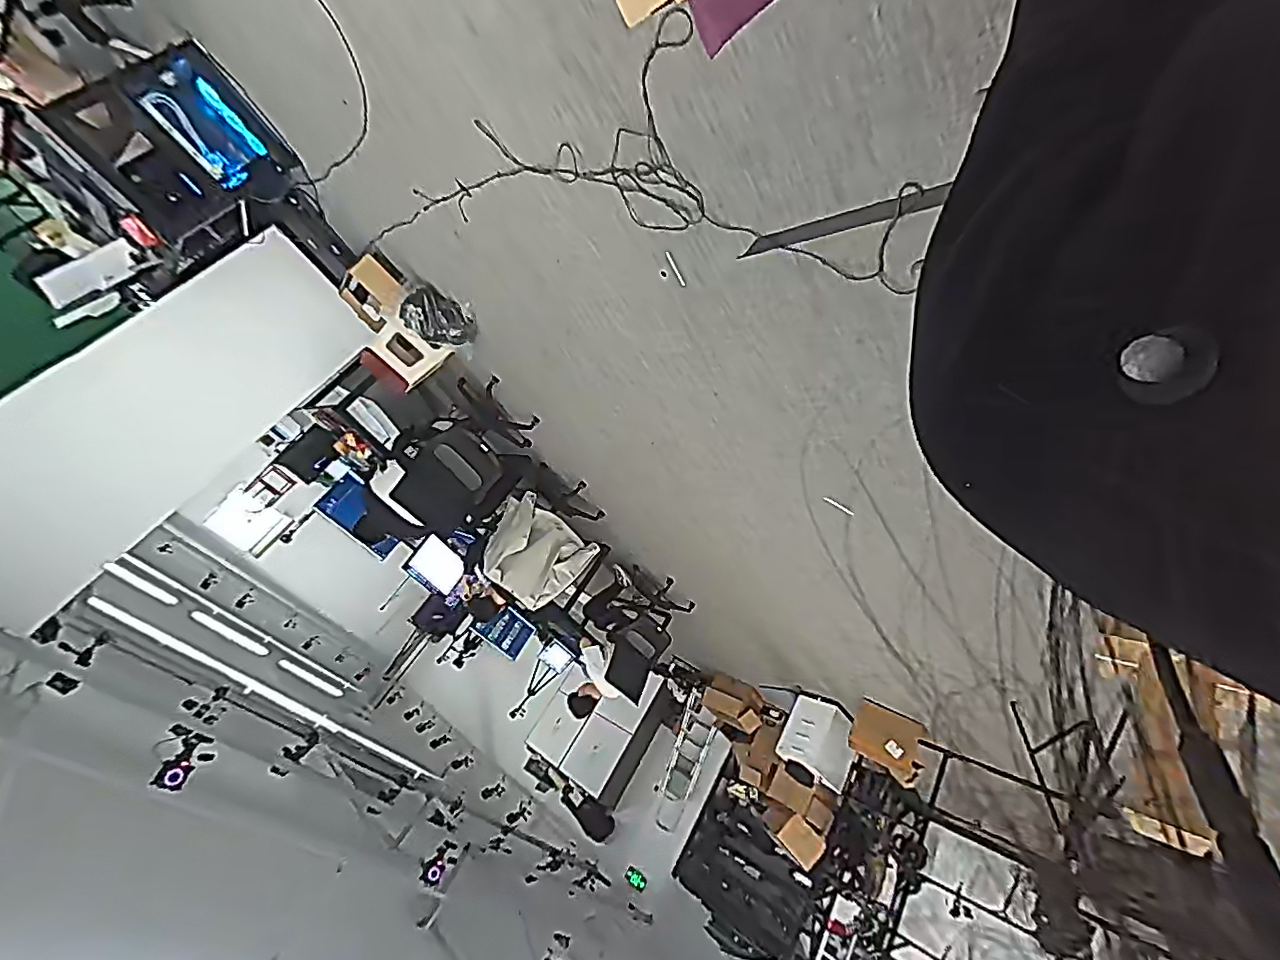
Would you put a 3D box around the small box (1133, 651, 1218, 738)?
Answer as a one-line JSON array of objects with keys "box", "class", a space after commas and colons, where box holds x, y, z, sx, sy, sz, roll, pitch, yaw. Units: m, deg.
[{"box": [1.658, 0.657, 1.676, 0.179, 0.176, 0.168, 6, 142, 47], "class": "small box"}]

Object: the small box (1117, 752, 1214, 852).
[{"box": [1.489, 0.903, 1.535, 0.179, 0.176, 0.168, 9, 144, 43], "class": "small box"}]
